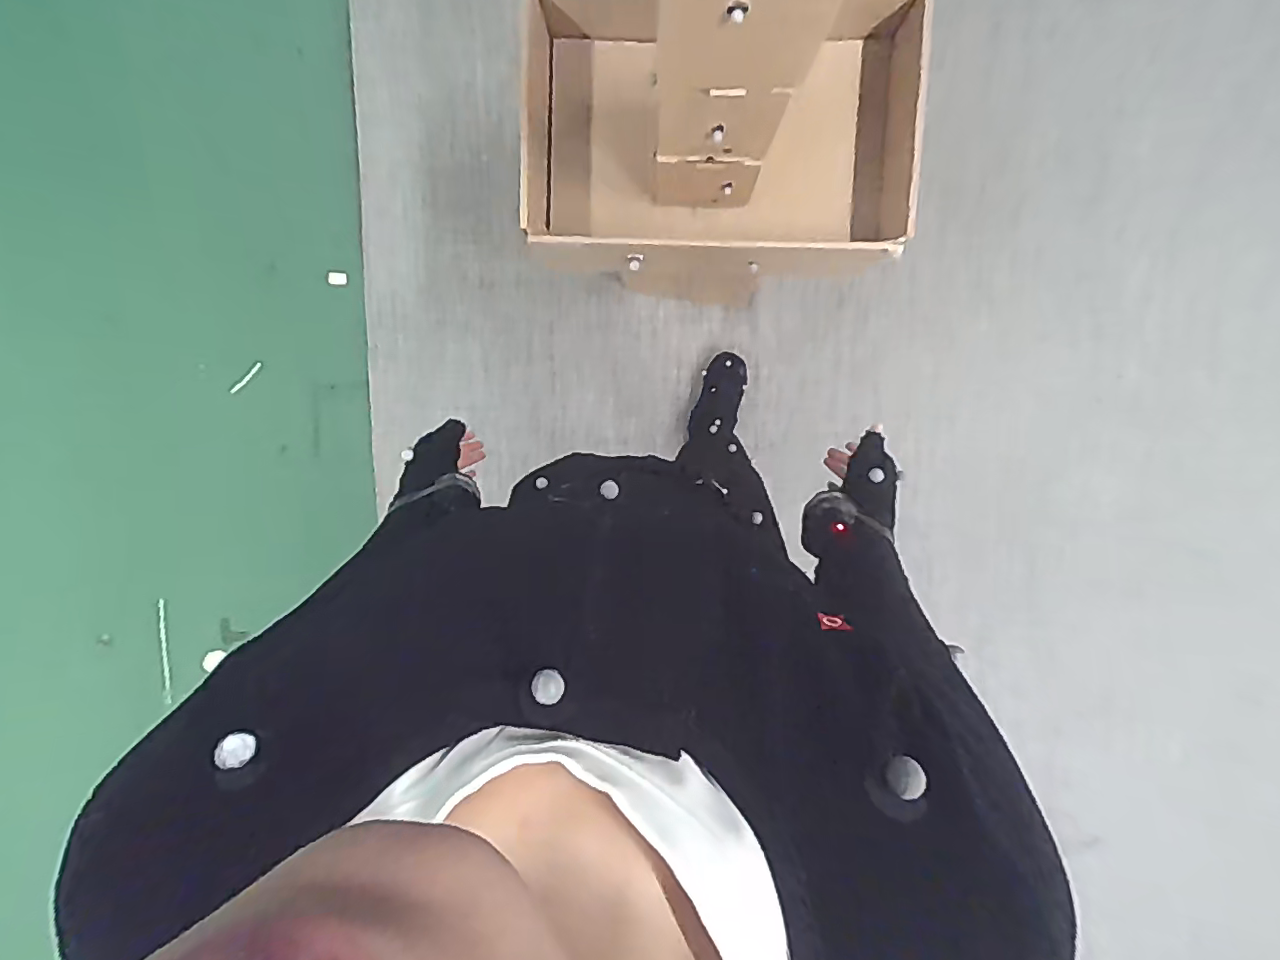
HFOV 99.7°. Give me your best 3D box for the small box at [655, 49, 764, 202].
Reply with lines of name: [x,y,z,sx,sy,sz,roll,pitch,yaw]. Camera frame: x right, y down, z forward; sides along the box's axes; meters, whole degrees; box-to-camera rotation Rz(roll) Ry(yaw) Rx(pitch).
small box: [0.110,-0.578,0.888,0.168,0.176,0.179,1,94,1]

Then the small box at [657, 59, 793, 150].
small box: [0.109,-0.570,0.724,0.168,0.176,0.179,1,97,0]

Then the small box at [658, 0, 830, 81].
small box: [0.108,-0.550,0.560,0.179,0.176,0.168,0,96,0]
